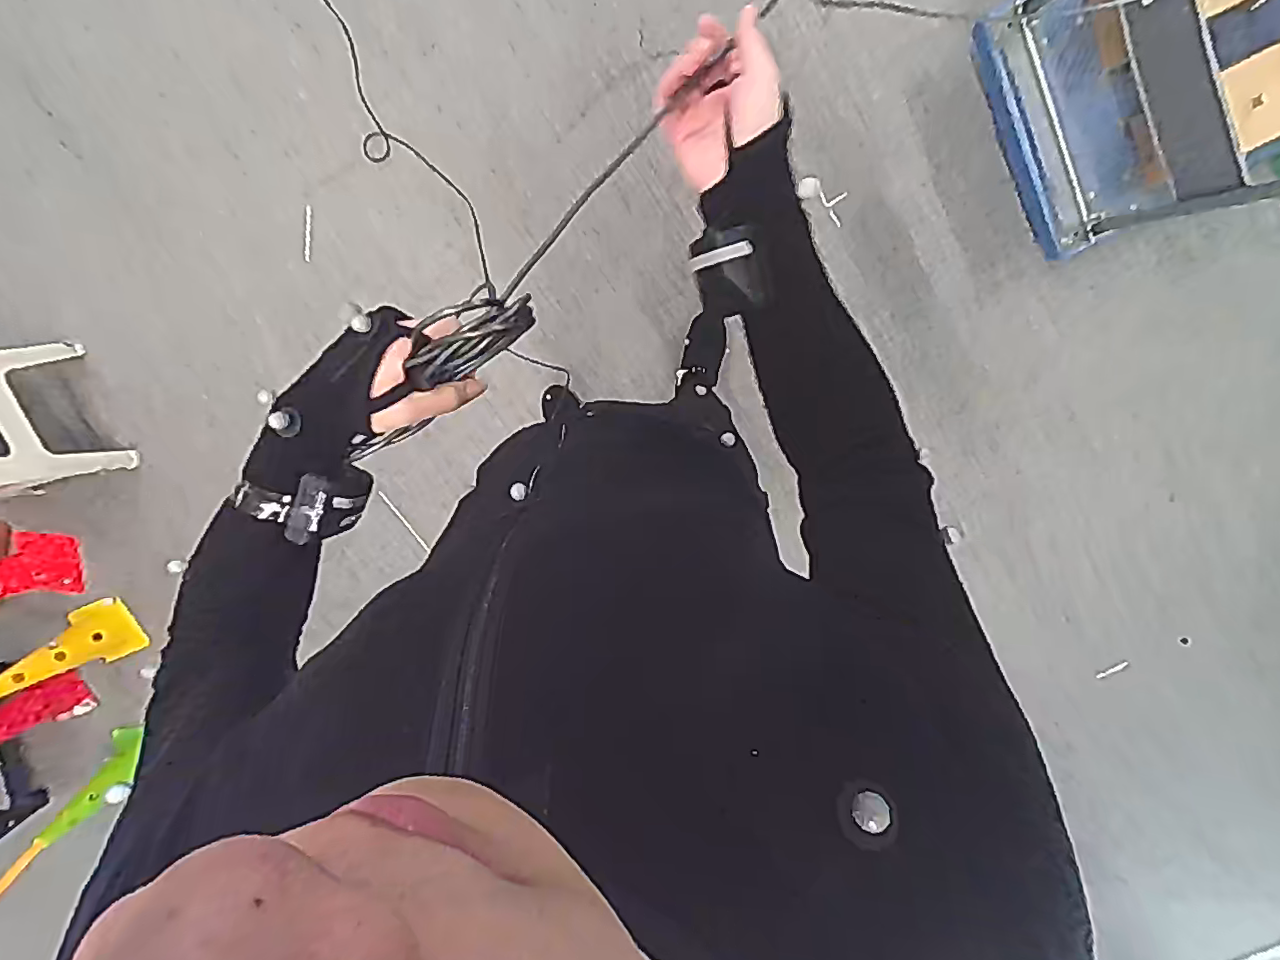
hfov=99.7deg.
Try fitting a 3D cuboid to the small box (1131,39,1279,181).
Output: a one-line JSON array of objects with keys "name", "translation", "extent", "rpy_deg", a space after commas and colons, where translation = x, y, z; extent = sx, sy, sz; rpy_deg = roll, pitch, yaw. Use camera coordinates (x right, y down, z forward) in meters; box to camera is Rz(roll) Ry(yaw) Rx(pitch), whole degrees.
[{"name": "small box", "translation": [1.208, -0.769, 1.139], "extent": [0.179, 0.176, 0.168], "rpy_deg": [-26, 102, 9]}]
